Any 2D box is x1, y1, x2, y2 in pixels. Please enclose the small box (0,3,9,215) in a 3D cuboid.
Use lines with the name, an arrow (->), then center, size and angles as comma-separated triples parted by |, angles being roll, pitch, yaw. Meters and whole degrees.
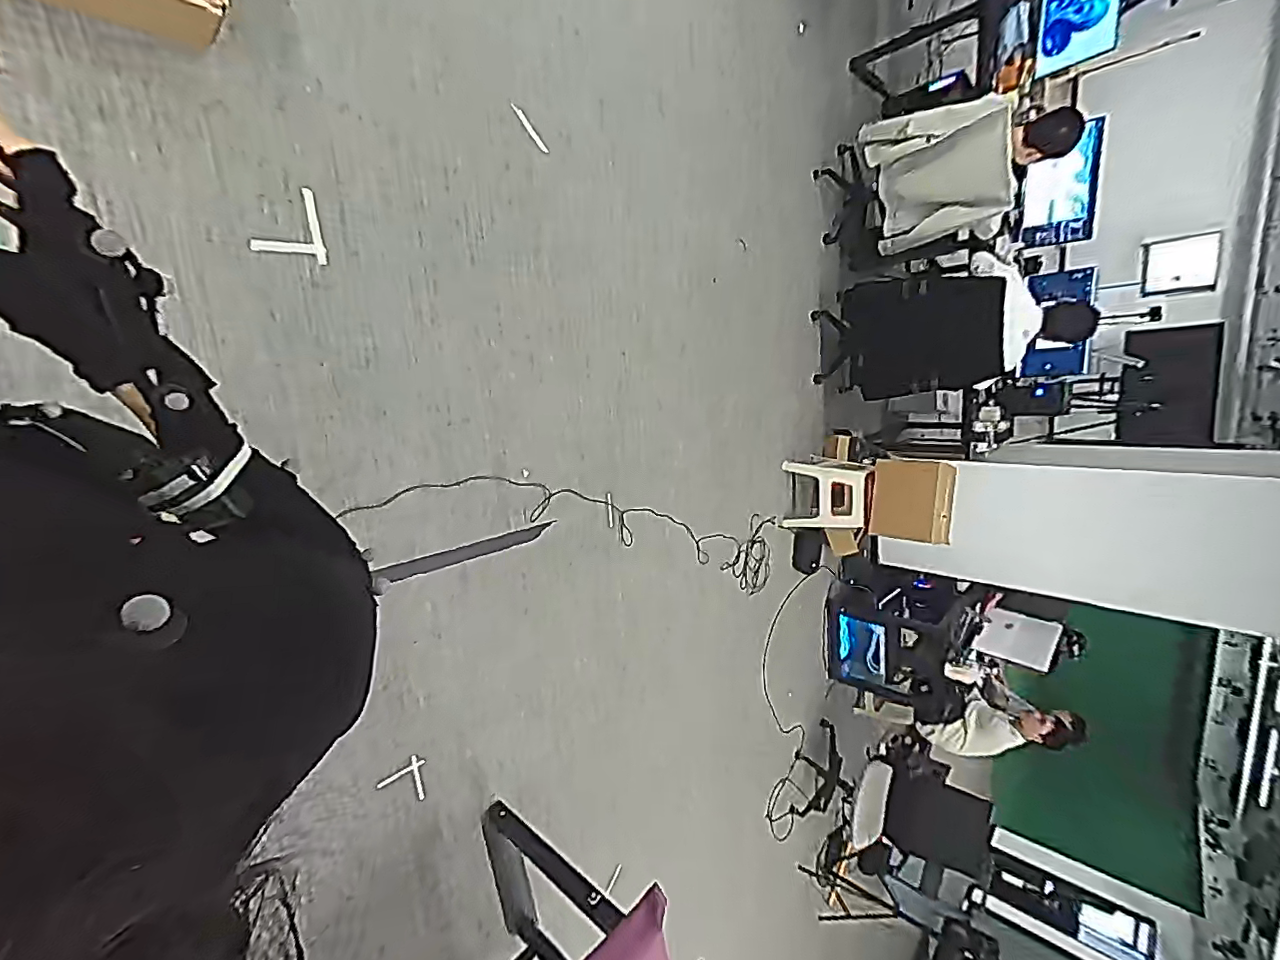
small box -> -0.476, -0.243, 0.284 | 0.179, 0.176, 0.168 | -3, 99, -52
